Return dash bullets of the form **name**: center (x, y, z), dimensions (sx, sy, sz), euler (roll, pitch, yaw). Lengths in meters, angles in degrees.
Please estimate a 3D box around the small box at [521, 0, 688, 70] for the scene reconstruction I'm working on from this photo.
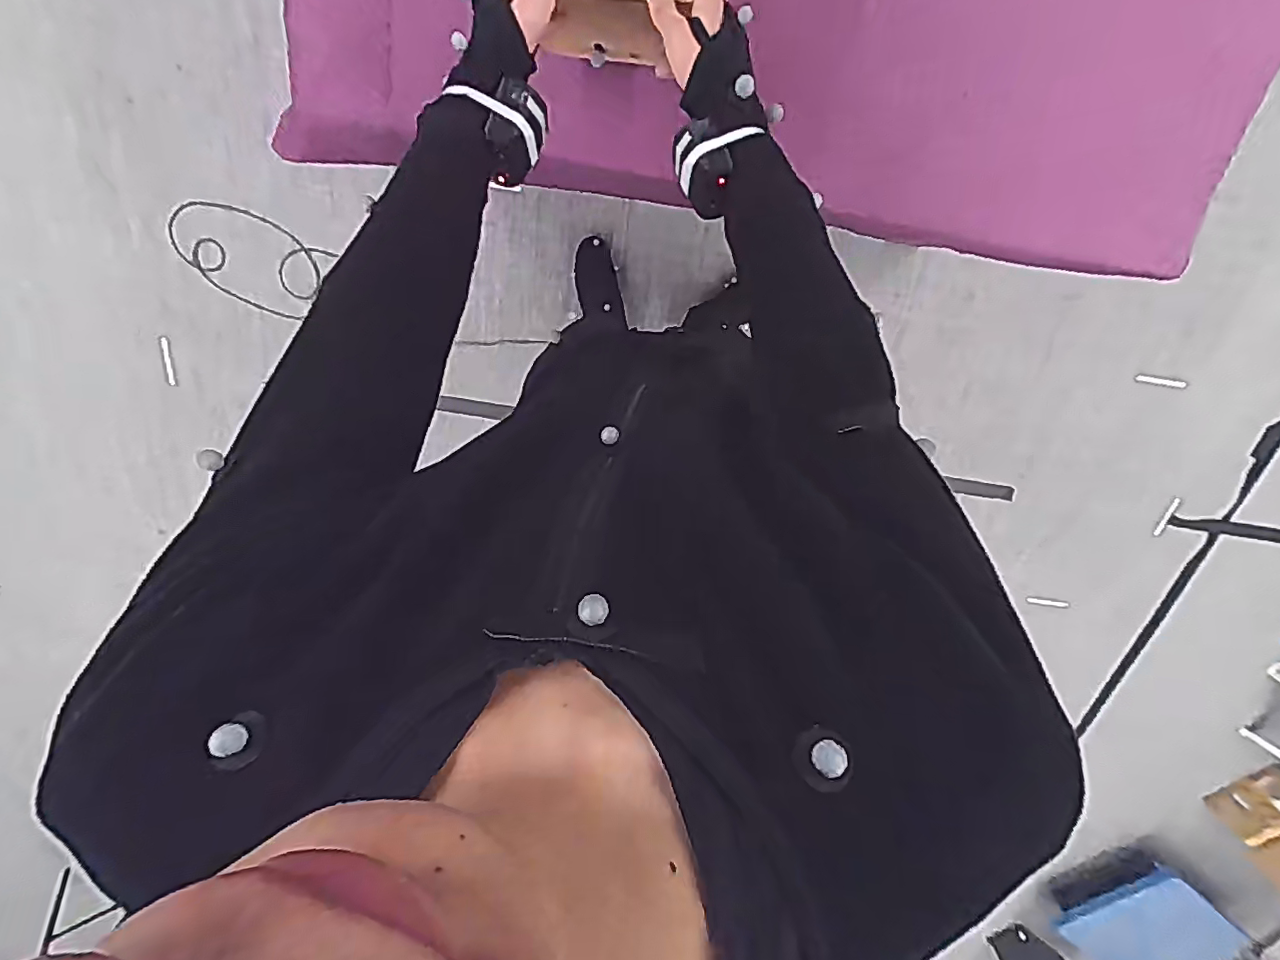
- **small box**: center (-0.030, -0.530, 0.513), dimensions (0.168, 0.176, 0.179), euler (7, 111, 1)
